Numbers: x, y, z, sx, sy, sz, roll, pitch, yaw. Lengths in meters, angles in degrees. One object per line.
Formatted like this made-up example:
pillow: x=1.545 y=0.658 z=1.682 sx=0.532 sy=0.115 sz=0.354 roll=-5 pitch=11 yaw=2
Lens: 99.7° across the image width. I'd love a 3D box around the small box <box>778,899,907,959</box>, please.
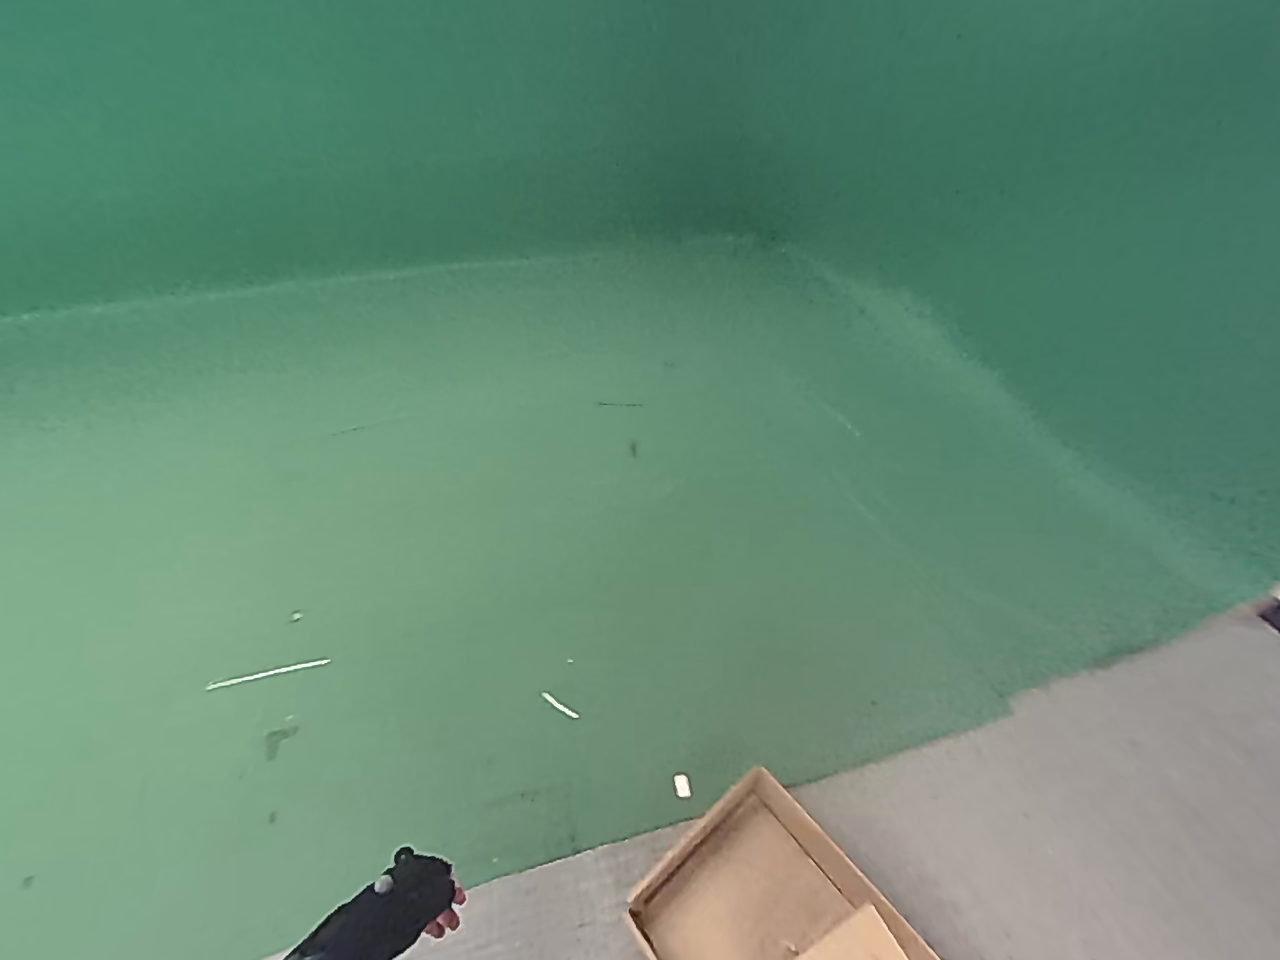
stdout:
small box: x=0.328 y=0.814 z=0.853 sx=0.179 sy=0.176 sz=0.168 roll=-19 pitch=49 yaw=-21
